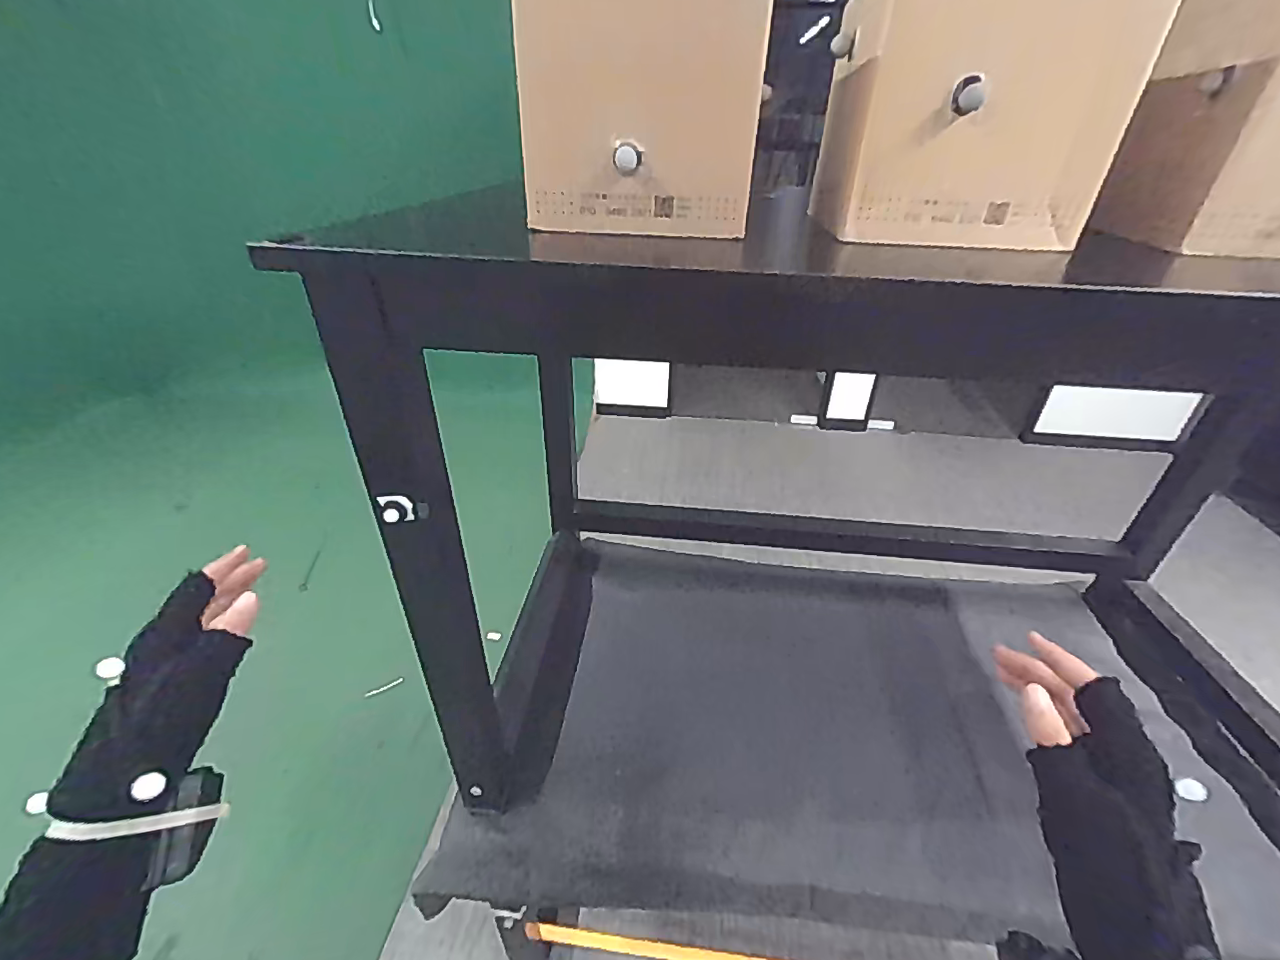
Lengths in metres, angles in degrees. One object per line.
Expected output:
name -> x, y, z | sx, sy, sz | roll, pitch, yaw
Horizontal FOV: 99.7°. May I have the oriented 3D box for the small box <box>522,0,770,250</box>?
small box -> 0.006, -0.300, 0.448 | 0.168, 0.176, 0.179 | 4, 34, 3
